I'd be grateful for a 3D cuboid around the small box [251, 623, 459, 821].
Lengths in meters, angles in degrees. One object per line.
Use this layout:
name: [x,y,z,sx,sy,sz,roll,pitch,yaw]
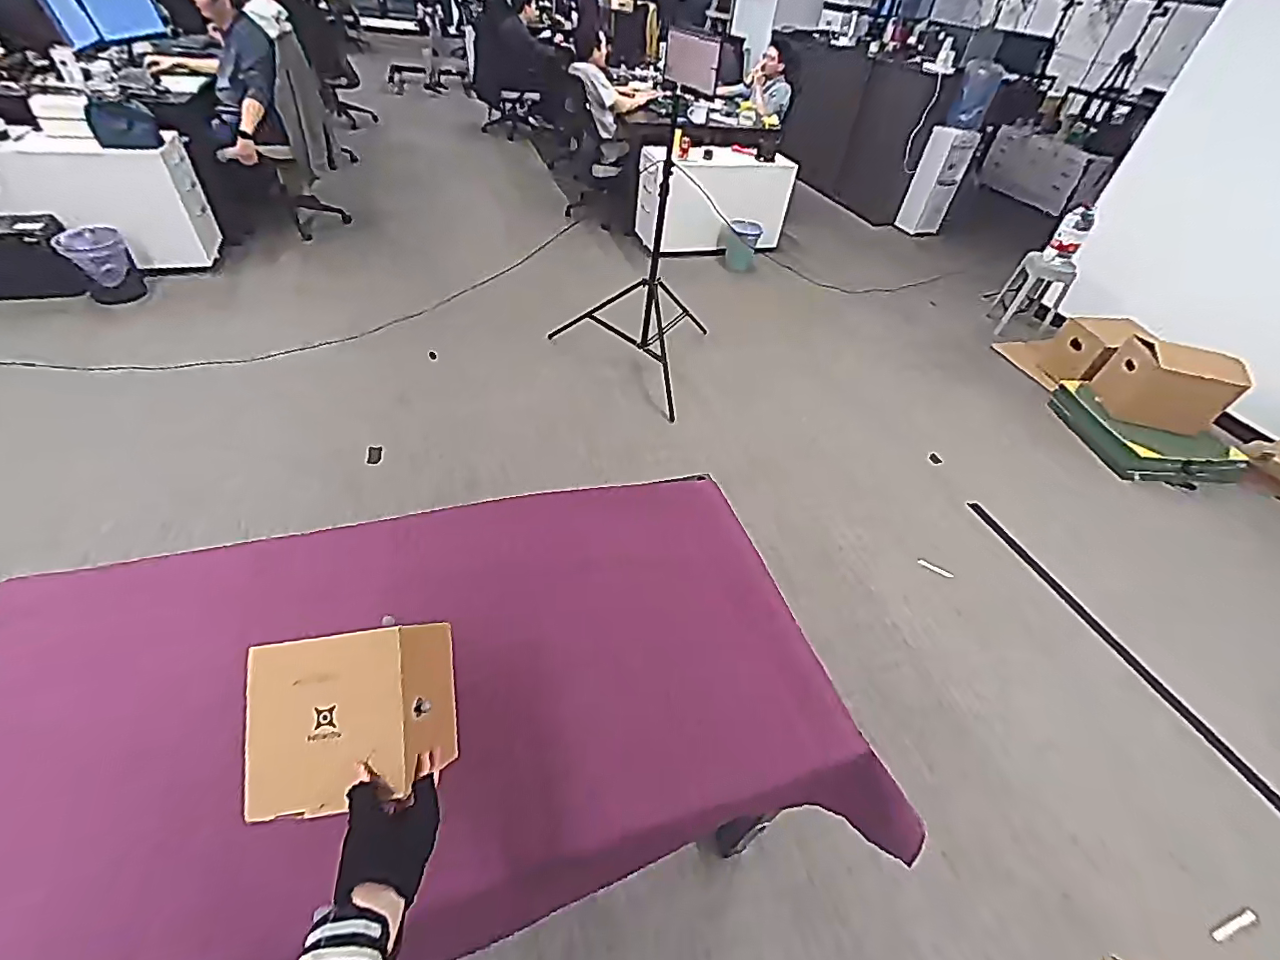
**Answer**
small box: [-0.328,0.274,0.652,0.168,0.176,0.179,-9,76,-2]
